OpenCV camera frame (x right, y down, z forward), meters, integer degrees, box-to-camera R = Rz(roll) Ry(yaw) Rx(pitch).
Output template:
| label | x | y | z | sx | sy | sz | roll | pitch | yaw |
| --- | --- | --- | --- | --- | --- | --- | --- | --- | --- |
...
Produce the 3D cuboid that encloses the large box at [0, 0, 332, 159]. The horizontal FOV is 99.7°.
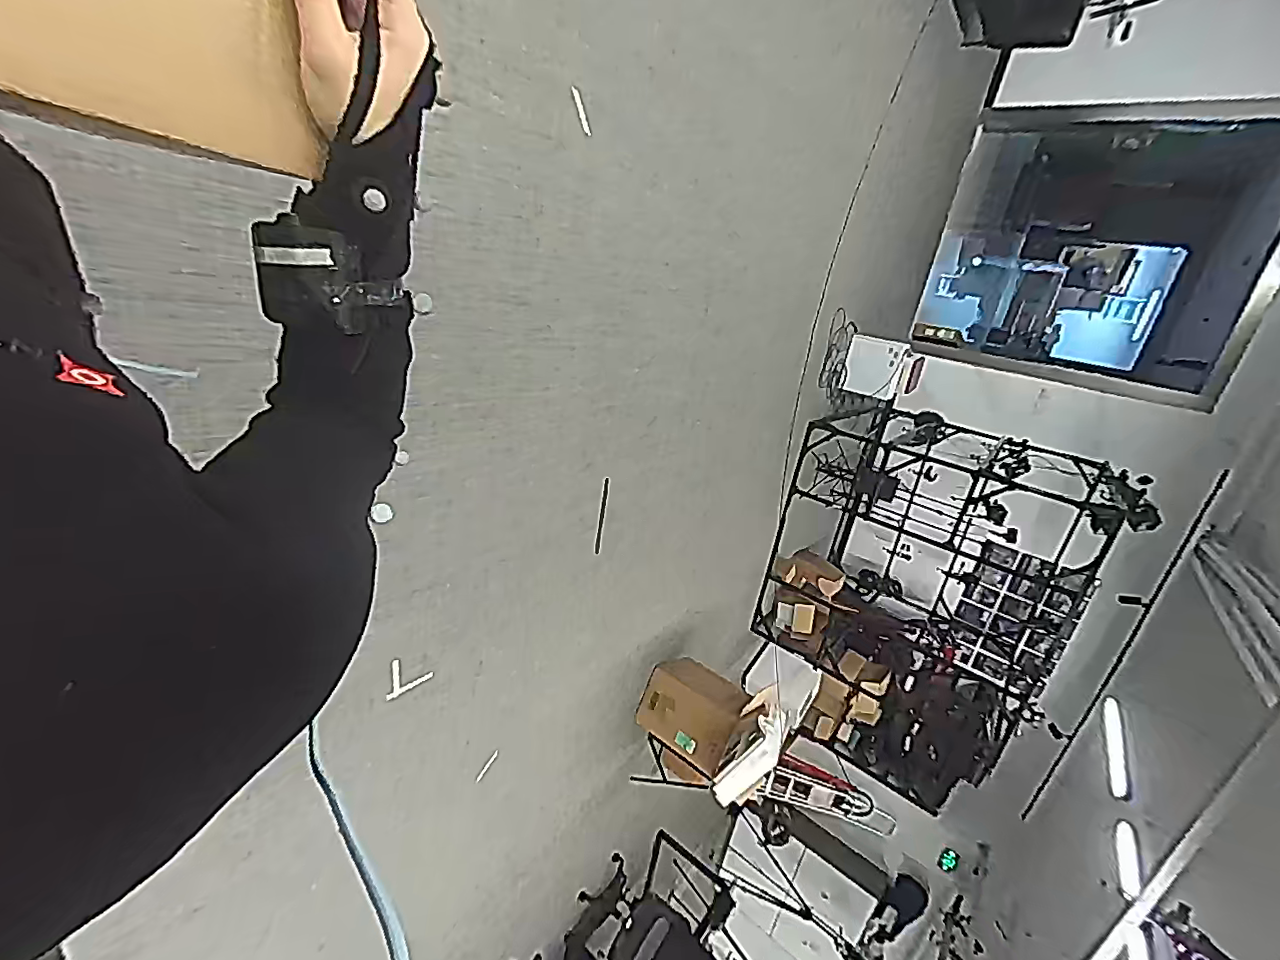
| label | x | y | z | sx | sy | sz | roll | pitch | yaw |
| --- | --- | --- | --- | --- | --- | --- | --- | --- | --- |
| large box | -0.382 | -0.347 | 0.176 | 0.408 | 0.320 | 0.320 | -17 | 127 | -57 |
